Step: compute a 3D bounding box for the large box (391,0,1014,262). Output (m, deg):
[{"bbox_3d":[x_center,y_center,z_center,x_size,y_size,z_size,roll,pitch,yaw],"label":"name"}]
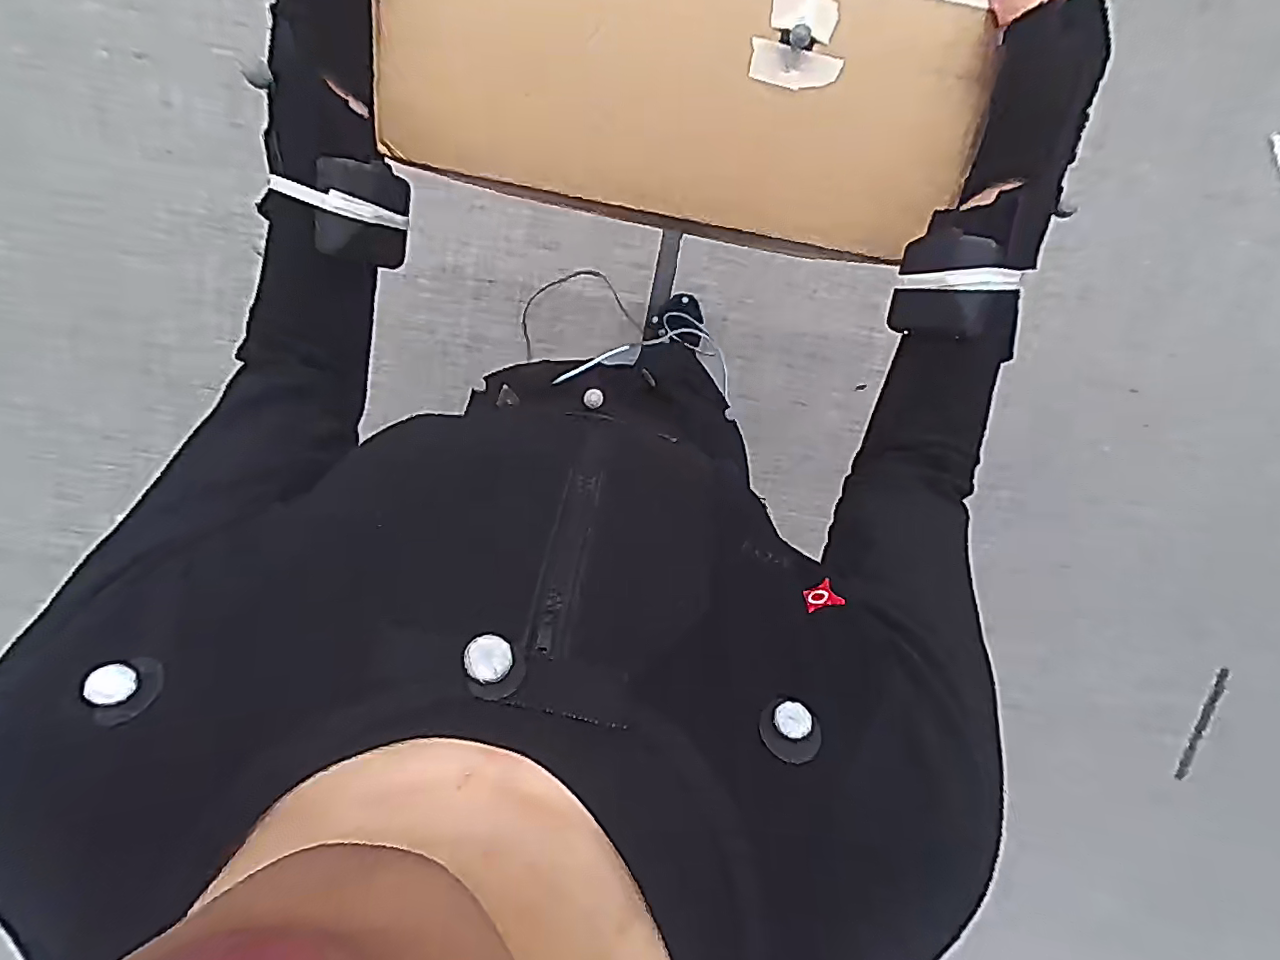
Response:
[{"bbox_3d":[0.044,-0.392,0.475,0.408,0.320,0.320,10,114,-4],"label":"large box"}]
